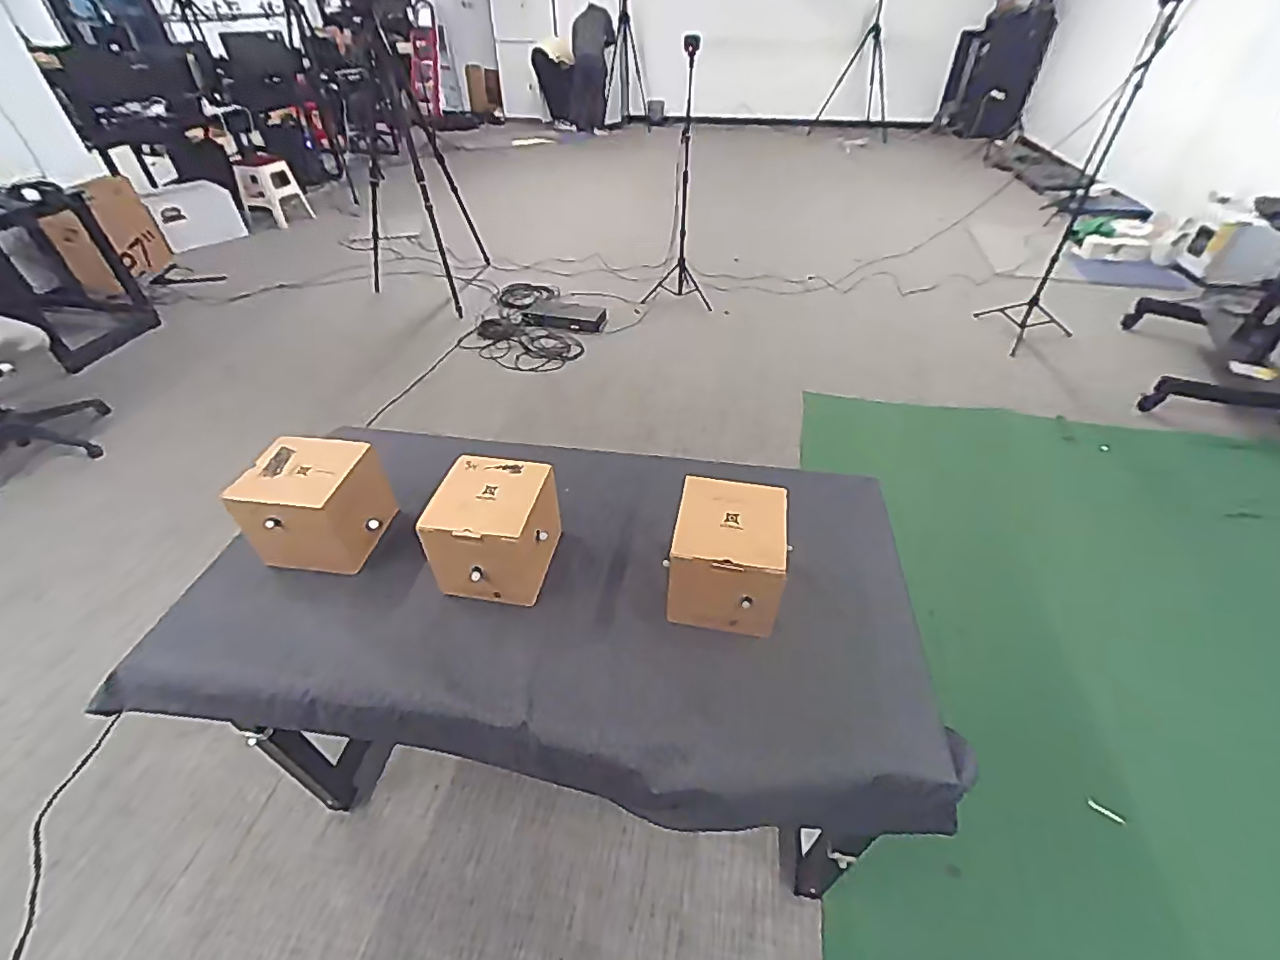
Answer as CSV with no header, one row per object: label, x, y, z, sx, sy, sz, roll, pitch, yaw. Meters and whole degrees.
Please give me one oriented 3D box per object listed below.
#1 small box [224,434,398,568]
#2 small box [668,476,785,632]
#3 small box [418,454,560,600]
small box,-0.567,0.038,0.960,0.179,0.176,0.168,6,43,4
small box,0.138,0.121,0.875,0.168,0.176,0.179,8,41,7
small box,-0.240,0.081,0.917,0.168,0.176,0.179,7,43,7
